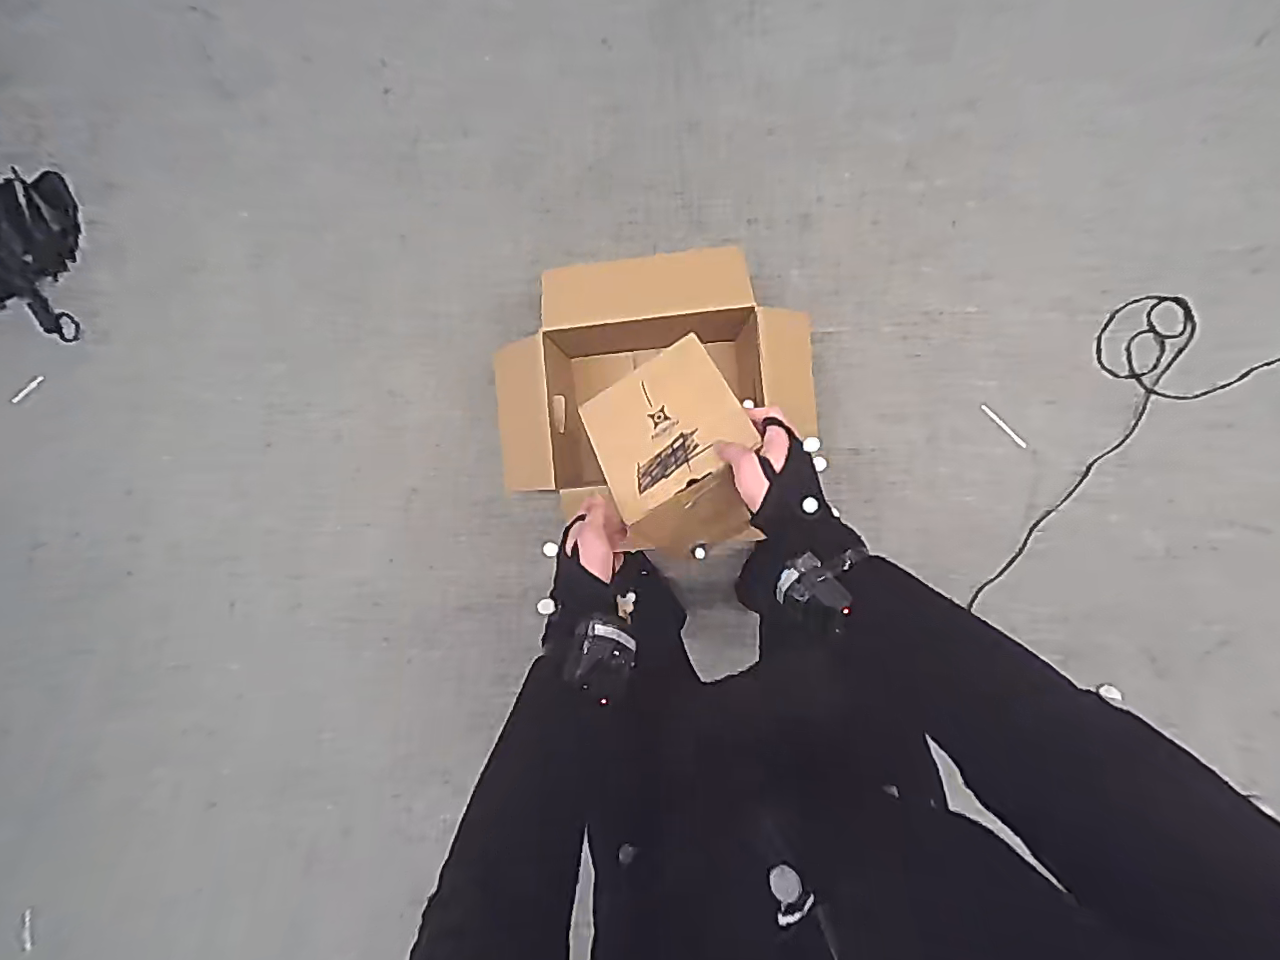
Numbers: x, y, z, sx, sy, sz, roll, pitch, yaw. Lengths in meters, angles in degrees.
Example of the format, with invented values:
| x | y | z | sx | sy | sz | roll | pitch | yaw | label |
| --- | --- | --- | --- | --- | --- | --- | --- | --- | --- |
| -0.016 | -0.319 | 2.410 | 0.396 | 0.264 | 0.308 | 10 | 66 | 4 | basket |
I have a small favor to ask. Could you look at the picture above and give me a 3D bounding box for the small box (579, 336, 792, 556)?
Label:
| x | y | z | sx | sy | sz | roll | pitch | yaw | label |
| --- | --- | --- | --- | --- | --- | --- | --- | --- | --- |
| 0.059 | -0.026 | 0.641 | 0.168 | 0.176 | 0.179 | -31 | 57 | 11 | small box |
